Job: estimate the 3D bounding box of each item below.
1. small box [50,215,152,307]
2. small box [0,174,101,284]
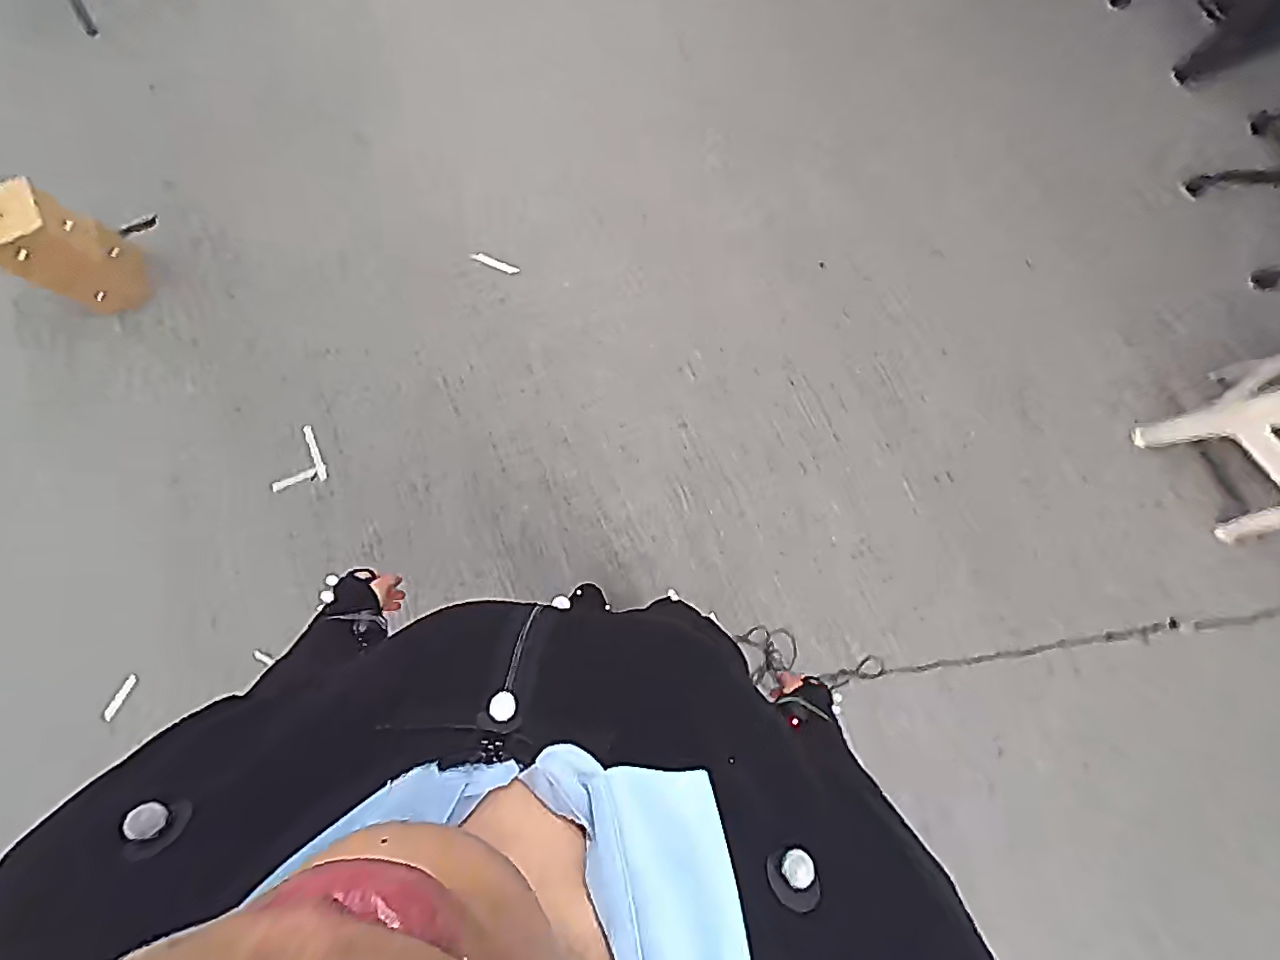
[{"bbox_3d":[-1.600,-0.637,1.598,0.168,0.176,0.179,-19,79,-5],"label":"small box"},{"bbox_3d":[-1.600,-0.659,1.437,0.179,0.176,0.168,-28,80,-5],"label":"small box"}]
